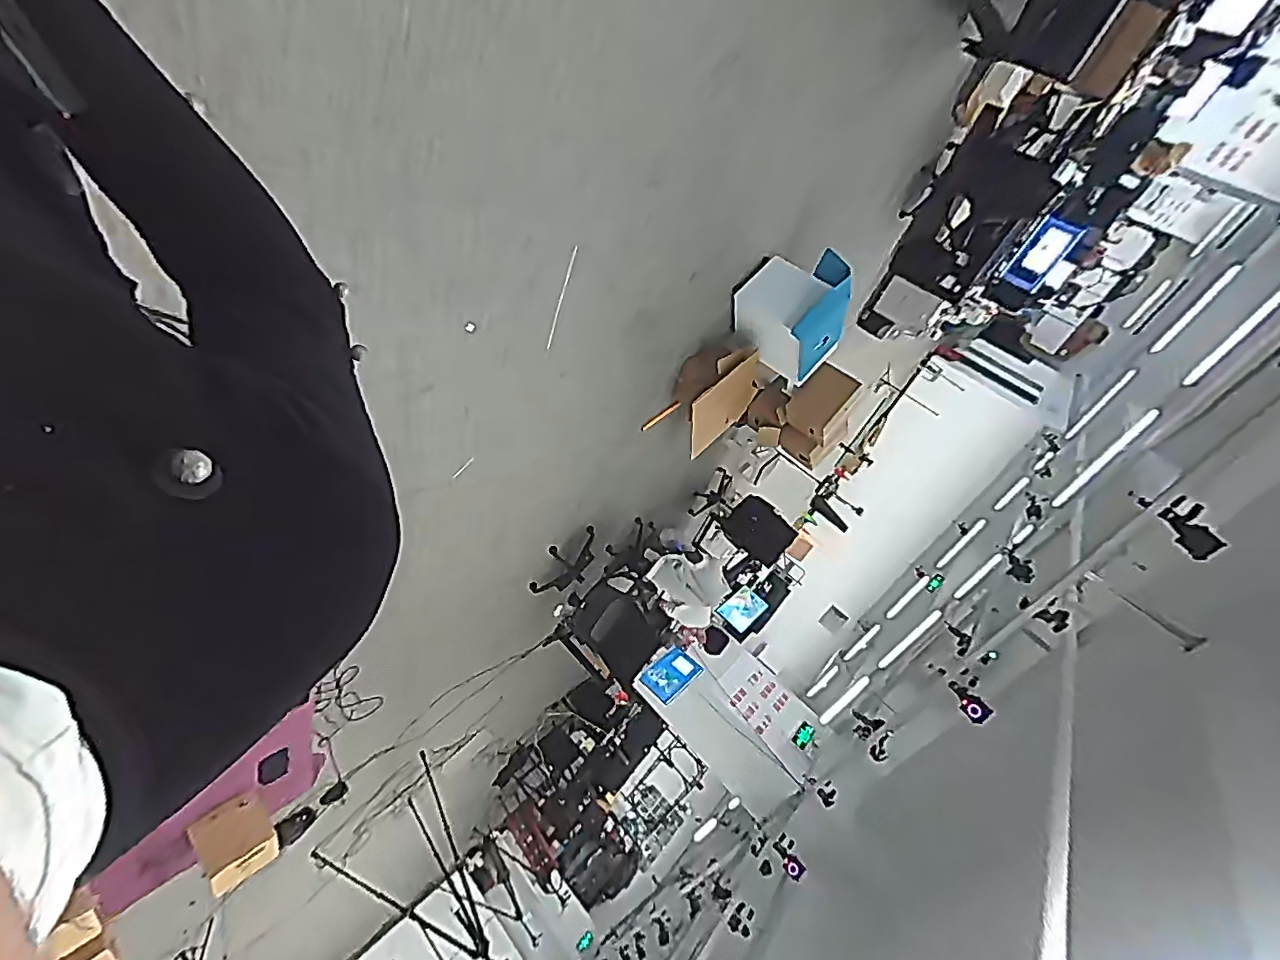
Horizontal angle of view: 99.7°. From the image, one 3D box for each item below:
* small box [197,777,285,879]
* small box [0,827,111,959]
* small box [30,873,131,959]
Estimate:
[{"bbox_3d":[-1.184,1.025,1.606,0.168,0.176,0.179,-23,147,-46],"label":"small box"},{"bbox_3d":[-1.311,0.913,1.189,0.168,0.176,0.179,-21,147,-48],"label":"small box"},{"bbox_3d":[-1.427,1.141,1.359,0.168,0.176,0.179,-24,147,-47],"label":"small box"}]
